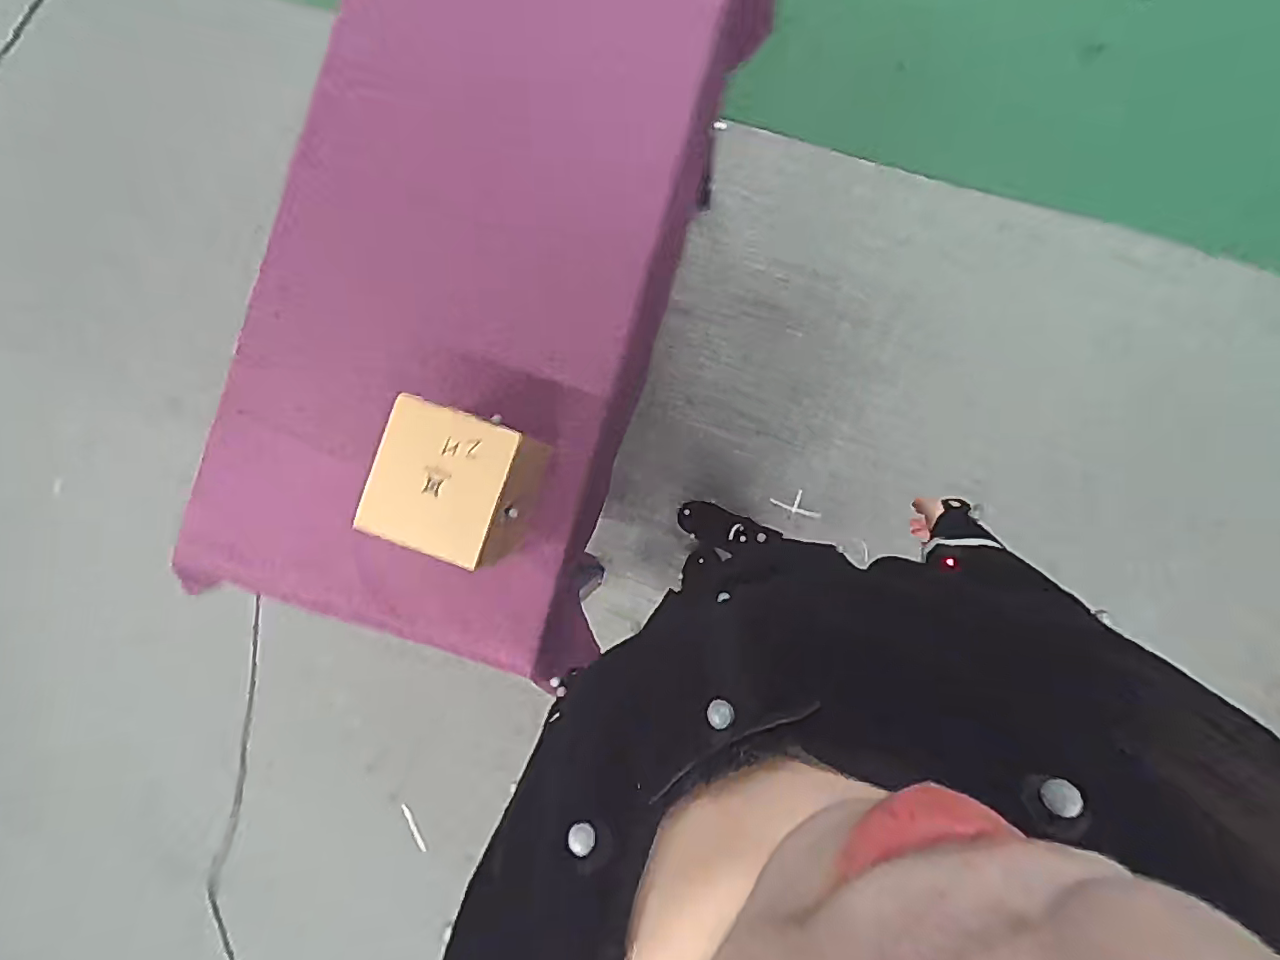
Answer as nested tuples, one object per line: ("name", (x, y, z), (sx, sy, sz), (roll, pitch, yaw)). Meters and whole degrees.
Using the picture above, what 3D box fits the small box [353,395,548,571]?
("small box", (-0.240, 0.007, 0.731), (0.168, 0.176, 0.179), (19, 89, 6))
